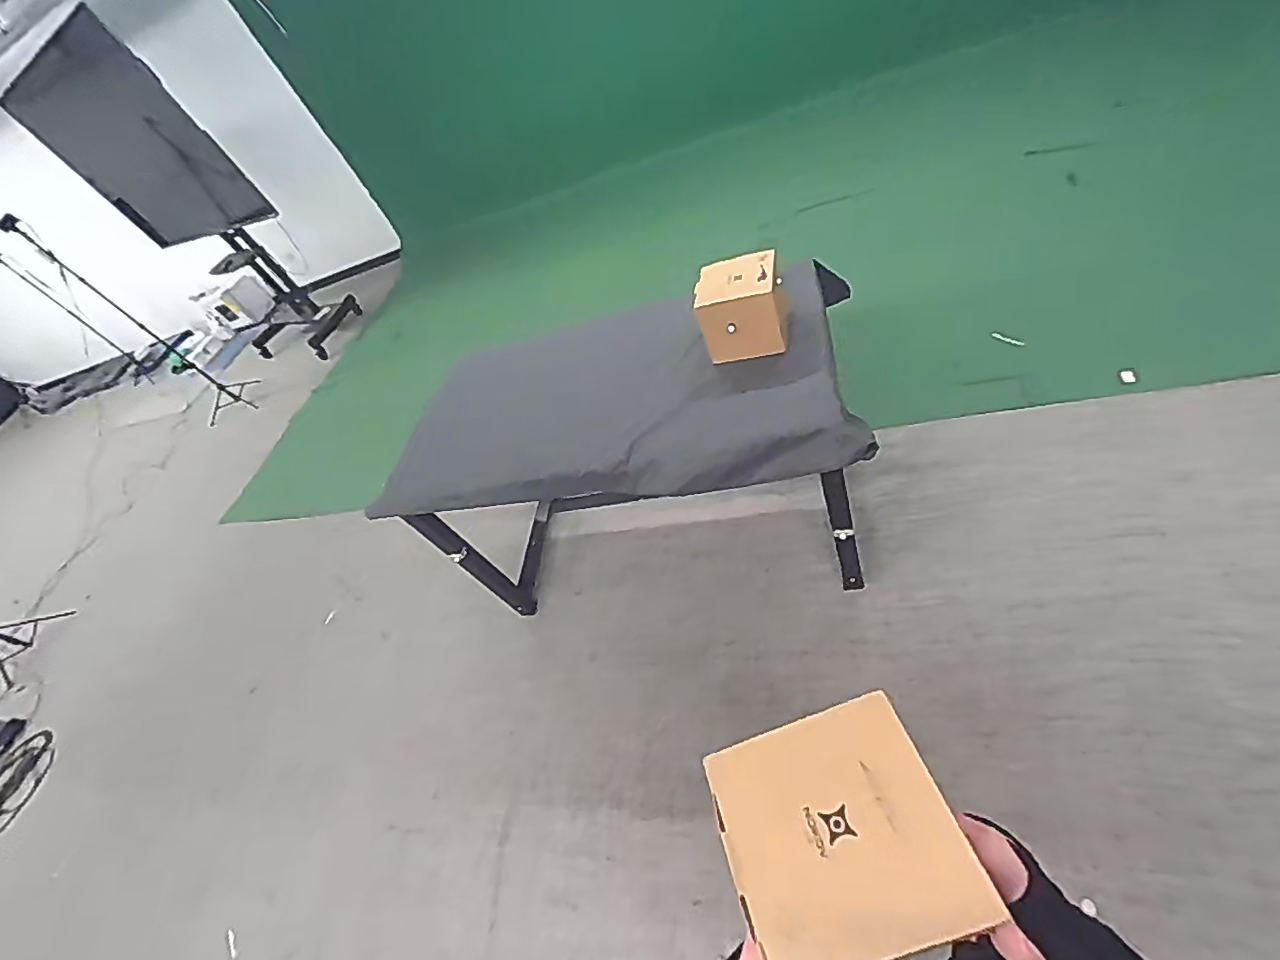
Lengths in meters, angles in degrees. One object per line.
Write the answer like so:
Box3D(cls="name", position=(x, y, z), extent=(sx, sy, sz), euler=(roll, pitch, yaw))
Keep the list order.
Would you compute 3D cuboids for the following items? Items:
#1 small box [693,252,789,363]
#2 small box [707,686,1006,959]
Box3D(cls="small box", position=(0.242, -0.394, 1.265), extent=(0.179, 0.176, 0.168), euler=(-6, 51, 24))
Box3D(cls="small box", position=(0.184, 0.320, 0.487), extent=(0.179, 0.176, 0.168), euler=(-24, 46, 5))
